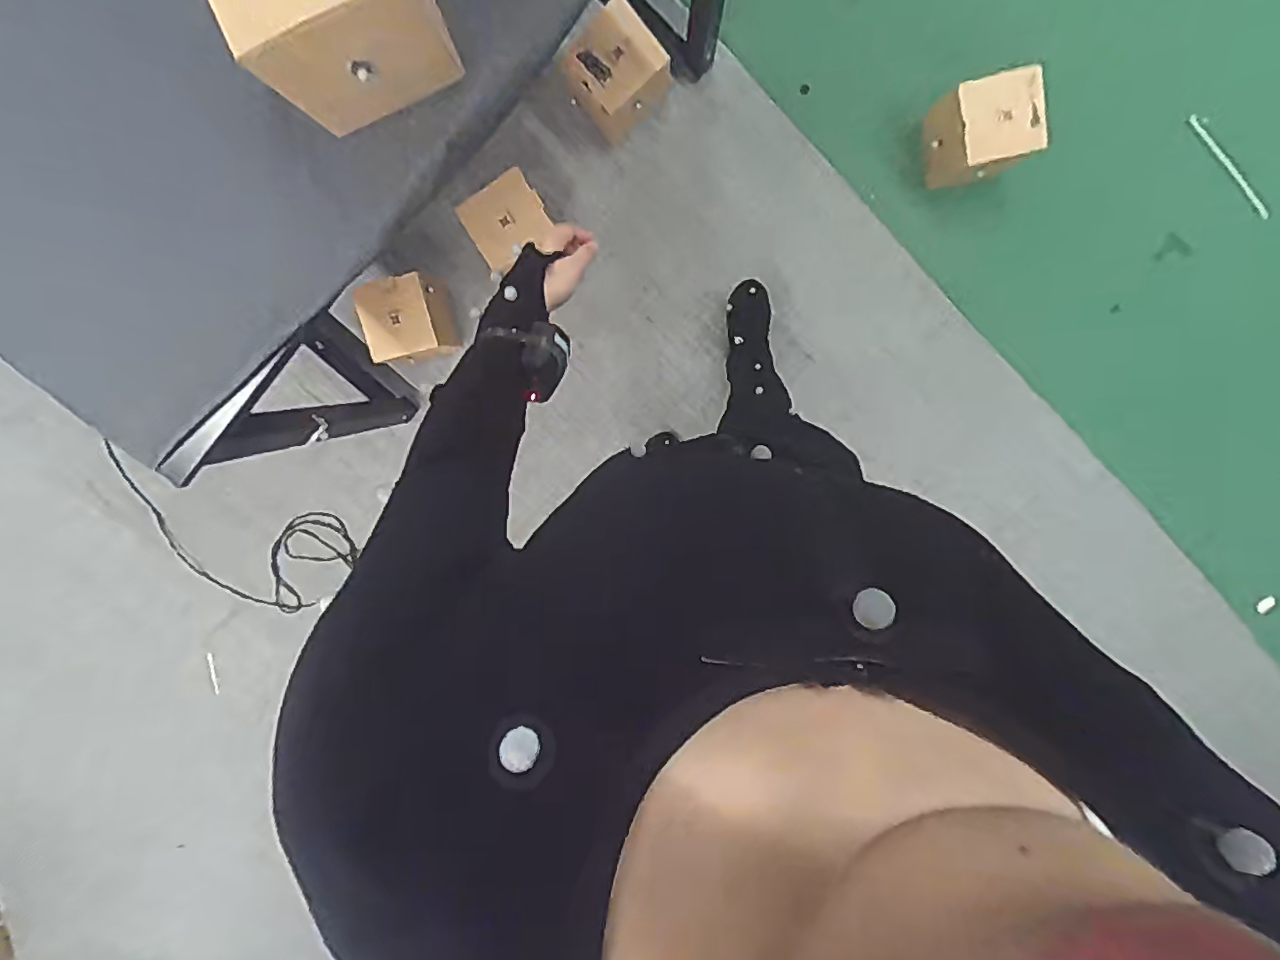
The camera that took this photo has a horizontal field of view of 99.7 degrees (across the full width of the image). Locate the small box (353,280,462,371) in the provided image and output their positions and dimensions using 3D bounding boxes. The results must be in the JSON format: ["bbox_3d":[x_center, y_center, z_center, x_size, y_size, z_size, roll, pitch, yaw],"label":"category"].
[{"bbox_3d":[-0.561,-0.373,1.329,0.168,0.176,0.179,-13,100,4],"label":"small box"}]

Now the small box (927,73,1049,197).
[{"bbox_3d":[0.774,-0.767,1.223,0.179,0.176,0.168,-12,100,4],"label":"small box"}]

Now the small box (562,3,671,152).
[{"bbox_3d":[-0.047,-0.888,1.217,0.179,0.176,0.168,-41,98,7],"label":"small box"}]

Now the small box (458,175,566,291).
[{"bbox_3d":[-0.291,-0.574,1.283,0.179,0.176,0.168,-32,98,8],"label":"small box"}]
